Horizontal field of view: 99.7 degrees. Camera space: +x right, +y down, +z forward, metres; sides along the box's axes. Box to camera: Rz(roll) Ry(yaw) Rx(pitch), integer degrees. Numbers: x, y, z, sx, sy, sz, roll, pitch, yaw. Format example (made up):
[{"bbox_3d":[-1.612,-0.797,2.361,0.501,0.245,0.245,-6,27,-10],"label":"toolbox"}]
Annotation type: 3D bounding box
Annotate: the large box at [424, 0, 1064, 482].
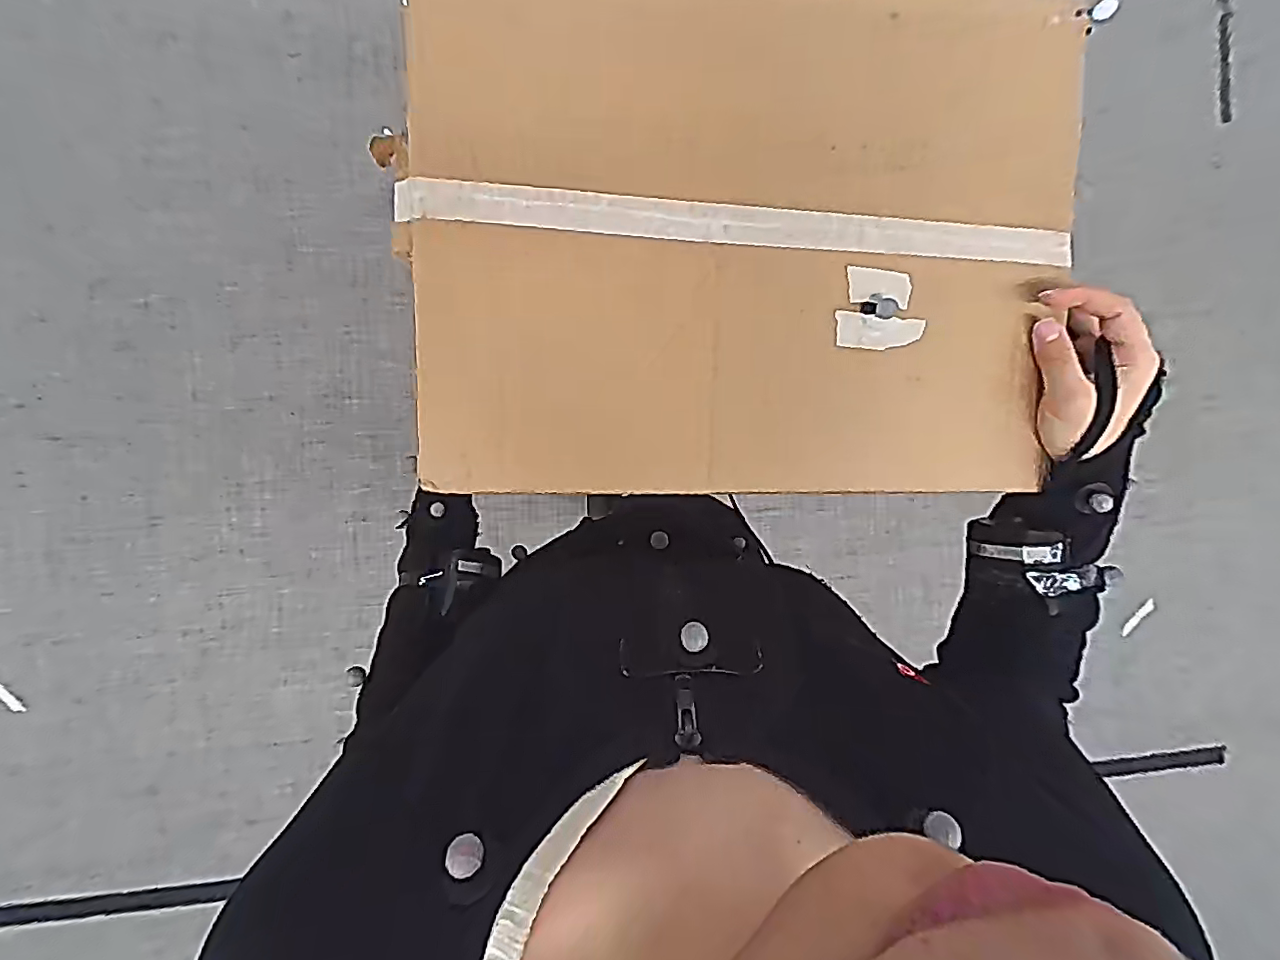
[{"bbox_3d":[0.052,-0.169,0.473,0.408,0.320,0.320,0,96,-11],"label":"large box"}]
